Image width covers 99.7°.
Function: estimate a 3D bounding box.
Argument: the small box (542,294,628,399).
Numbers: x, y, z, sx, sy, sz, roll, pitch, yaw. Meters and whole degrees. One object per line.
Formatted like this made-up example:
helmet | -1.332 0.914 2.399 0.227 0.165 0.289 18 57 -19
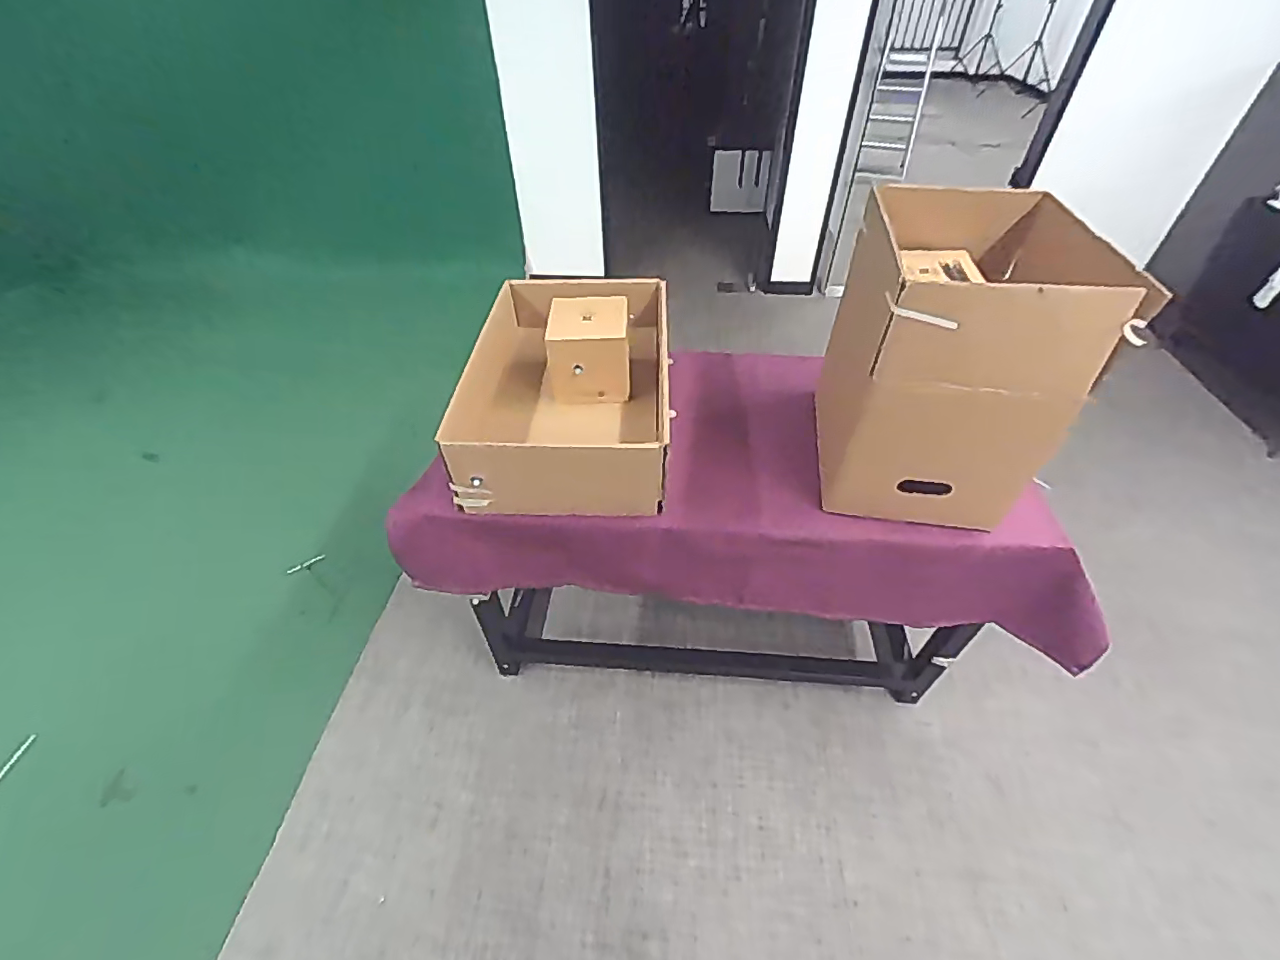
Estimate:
small box | -0.114 -0.290 1.196 0.168 0.176 0.179 -2 46 1
